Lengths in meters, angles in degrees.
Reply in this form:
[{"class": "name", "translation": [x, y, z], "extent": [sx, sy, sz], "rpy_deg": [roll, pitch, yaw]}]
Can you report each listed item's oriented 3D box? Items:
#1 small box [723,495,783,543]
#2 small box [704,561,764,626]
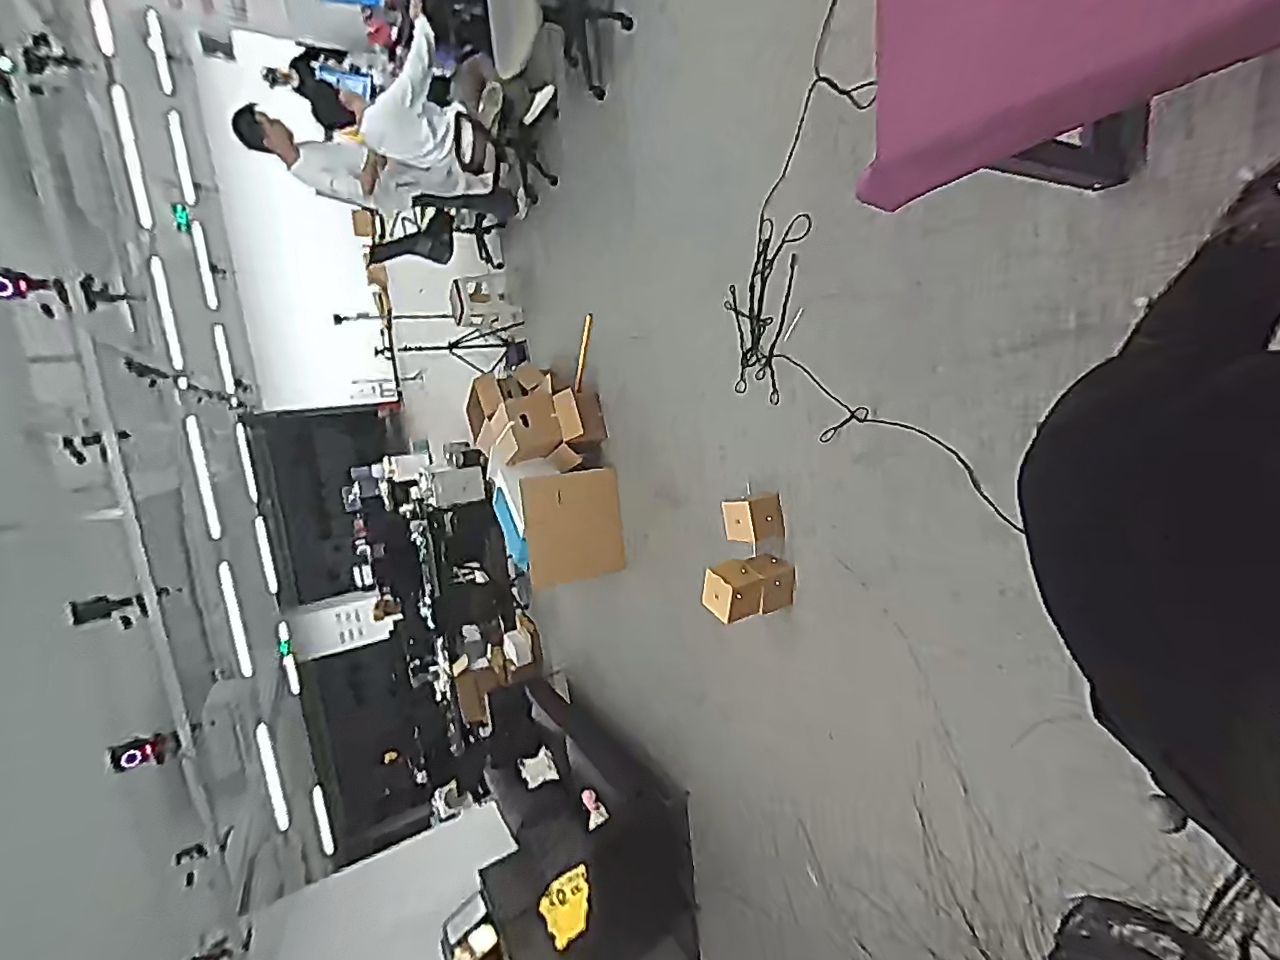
[{"class": "small box", "translation": [0.473, 0.158, 2.238], "extent": [0.179, 0.176, 0.168], "rpy_deg": [-5, 95, 61]}, {"class": "small box", "translation": [0.379, 0.451, 2.176], "extent": [0.168, 0.176, 0.179], "rpy_deg": [36, 128, 52]}]
